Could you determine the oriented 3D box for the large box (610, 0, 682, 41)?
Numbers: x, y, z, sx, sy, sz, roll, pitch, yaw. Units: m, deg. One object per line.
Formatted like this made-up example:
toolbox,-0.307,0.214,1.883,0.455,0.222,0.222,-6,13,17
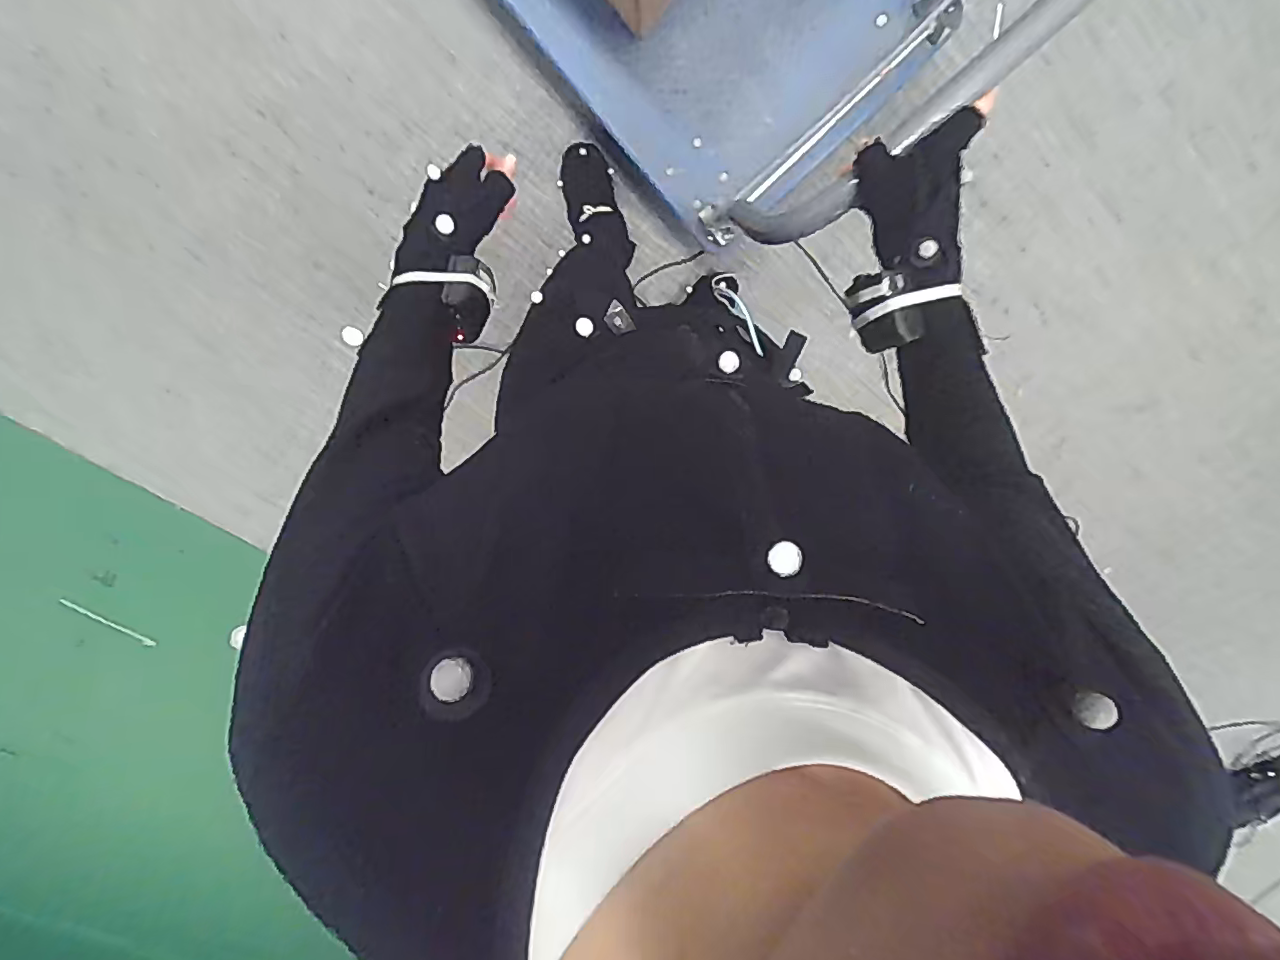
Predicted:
large box,0.040,-0.924,0.721,0.320,0.320,0.408,42,113,-18
